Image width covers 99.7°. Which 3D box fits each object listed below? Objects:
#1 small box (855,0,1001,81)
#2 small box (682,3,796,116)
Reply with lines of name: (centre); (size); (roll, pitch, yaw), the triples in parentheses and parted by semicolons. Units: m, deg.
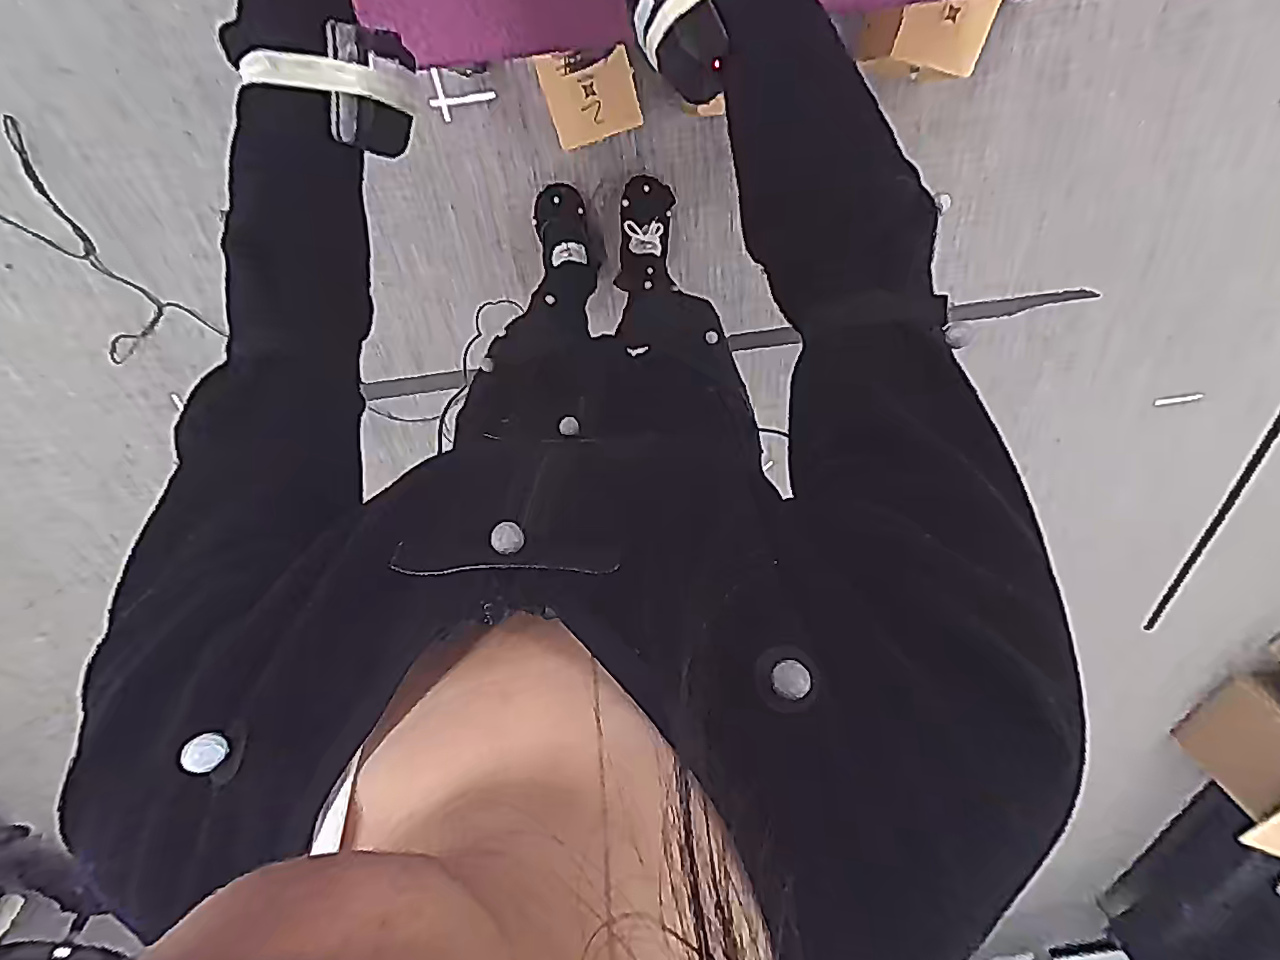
small box: (0.556, -0.893, 1.049); (0.179, 0.176, 0.168); (6, 124, -10)
small box: (0.184, -0.816, 1.057); (0.179, 0.176, 0.168); (-5, 125, -4)
